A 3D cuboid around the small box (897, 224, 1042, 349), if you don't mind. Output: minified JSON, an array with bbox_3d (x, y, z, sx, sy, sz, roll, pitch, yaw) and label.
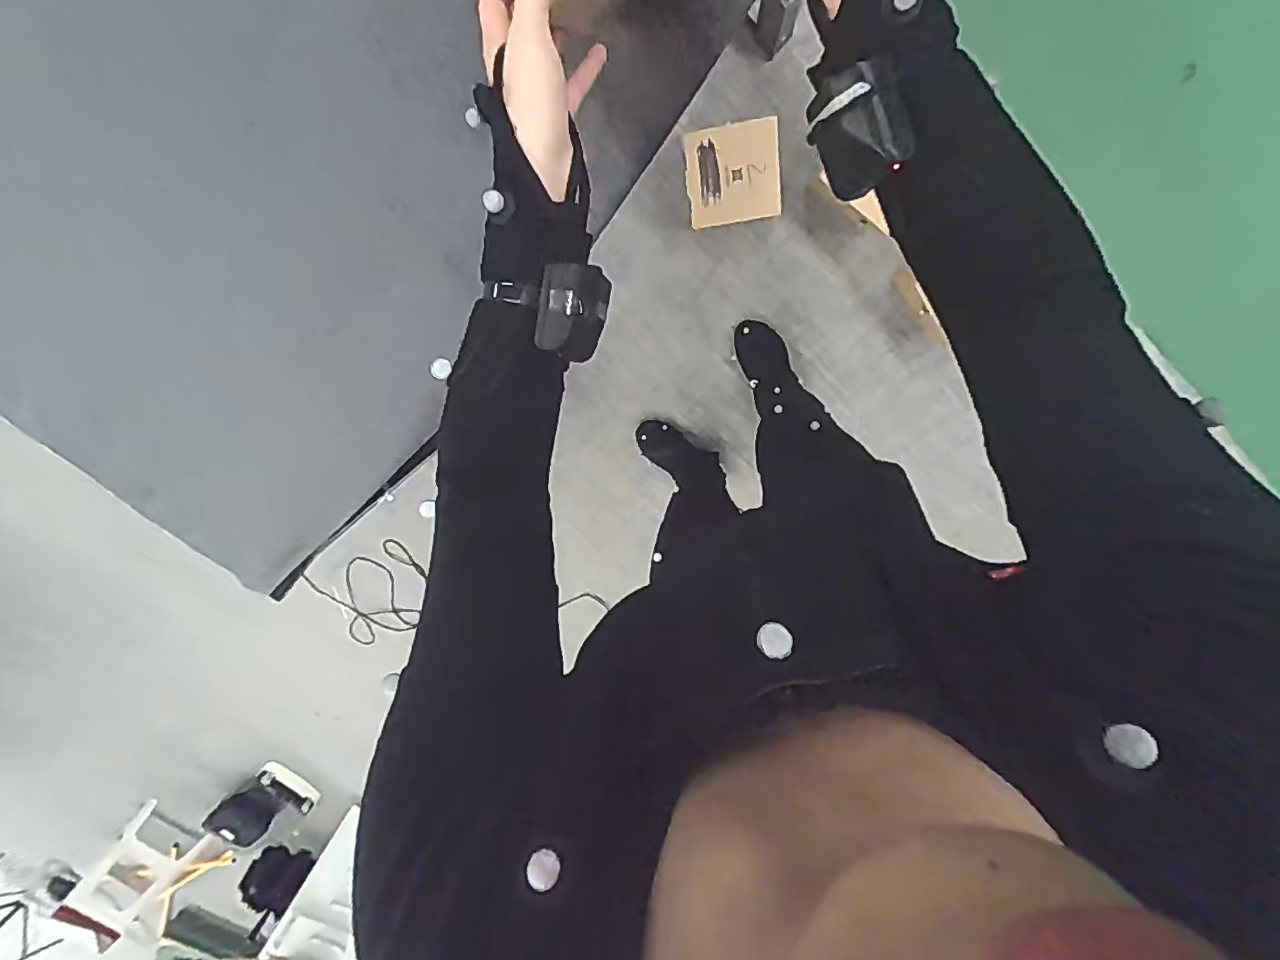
[{"bbox_3d":[0.667,-0.404,1.114,0.179,0.176,0.168,-33,108,23],"label":"small box"}]

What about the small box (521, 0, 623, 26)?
[{"bbox_3d":[-0.029,-0.424,0.326,0.179,0.176,0.168,-24,120,28],"label":"small box"}]

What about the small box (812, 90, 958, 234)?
[{"bbox_3d":[0.460,-0.606,1.046,0.179,0.176,0.168,35,116,-9],"label":"small box"}]
